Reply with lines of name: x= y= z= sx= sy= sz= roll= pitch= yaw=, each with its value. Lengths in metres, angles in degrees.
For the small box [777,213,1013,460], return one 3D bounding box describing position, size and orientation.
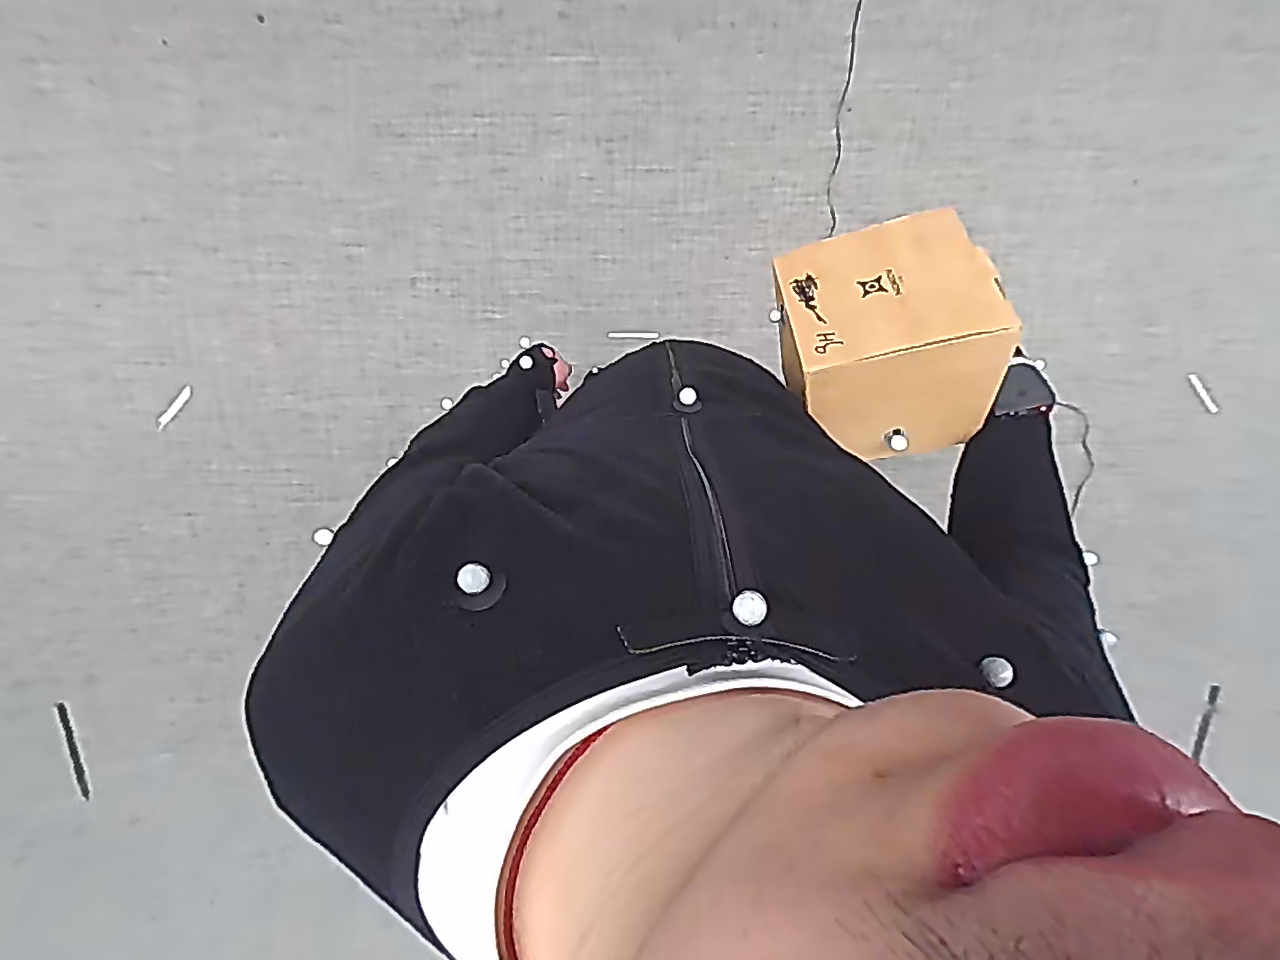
small box: x=0.250 y=-0.142 z=0.579 sx=0.179 sy=0.168 sz=0.176 roll=-11 pitch=147 yaw=12
